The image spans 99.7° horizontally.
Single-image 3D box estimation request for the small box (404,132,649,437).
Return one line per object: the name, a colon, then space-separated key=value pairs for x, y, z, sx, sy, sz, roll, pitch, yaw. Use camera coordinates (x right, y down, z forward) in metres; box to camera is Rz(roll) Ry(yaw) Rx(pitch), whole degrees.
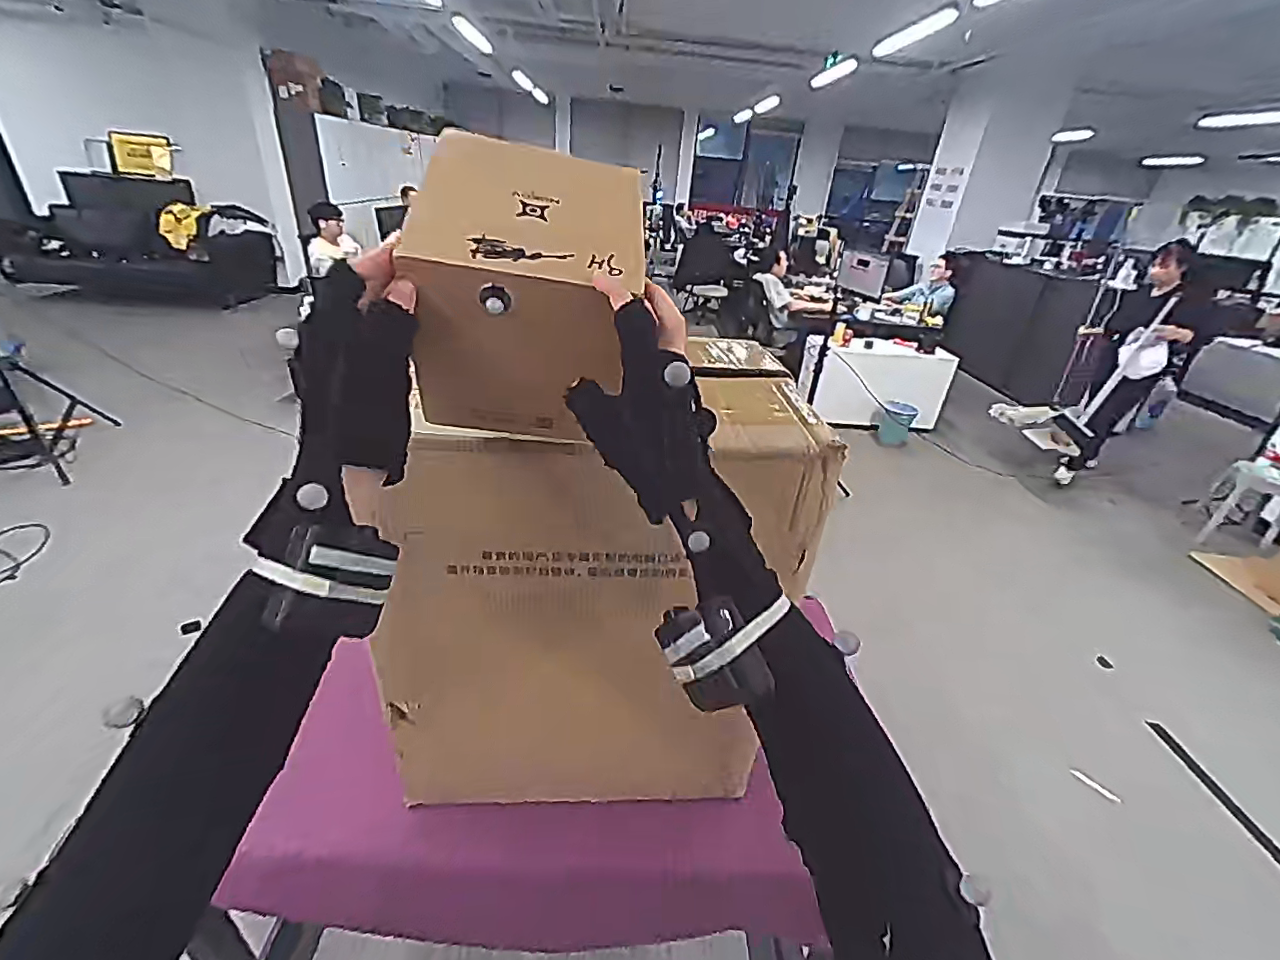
small box: x=-0.090 y=-0.164 z=0.472 sx=0.168 sy=0.176 sz=0.179 roll=5 pitch=52 yaw=-9
